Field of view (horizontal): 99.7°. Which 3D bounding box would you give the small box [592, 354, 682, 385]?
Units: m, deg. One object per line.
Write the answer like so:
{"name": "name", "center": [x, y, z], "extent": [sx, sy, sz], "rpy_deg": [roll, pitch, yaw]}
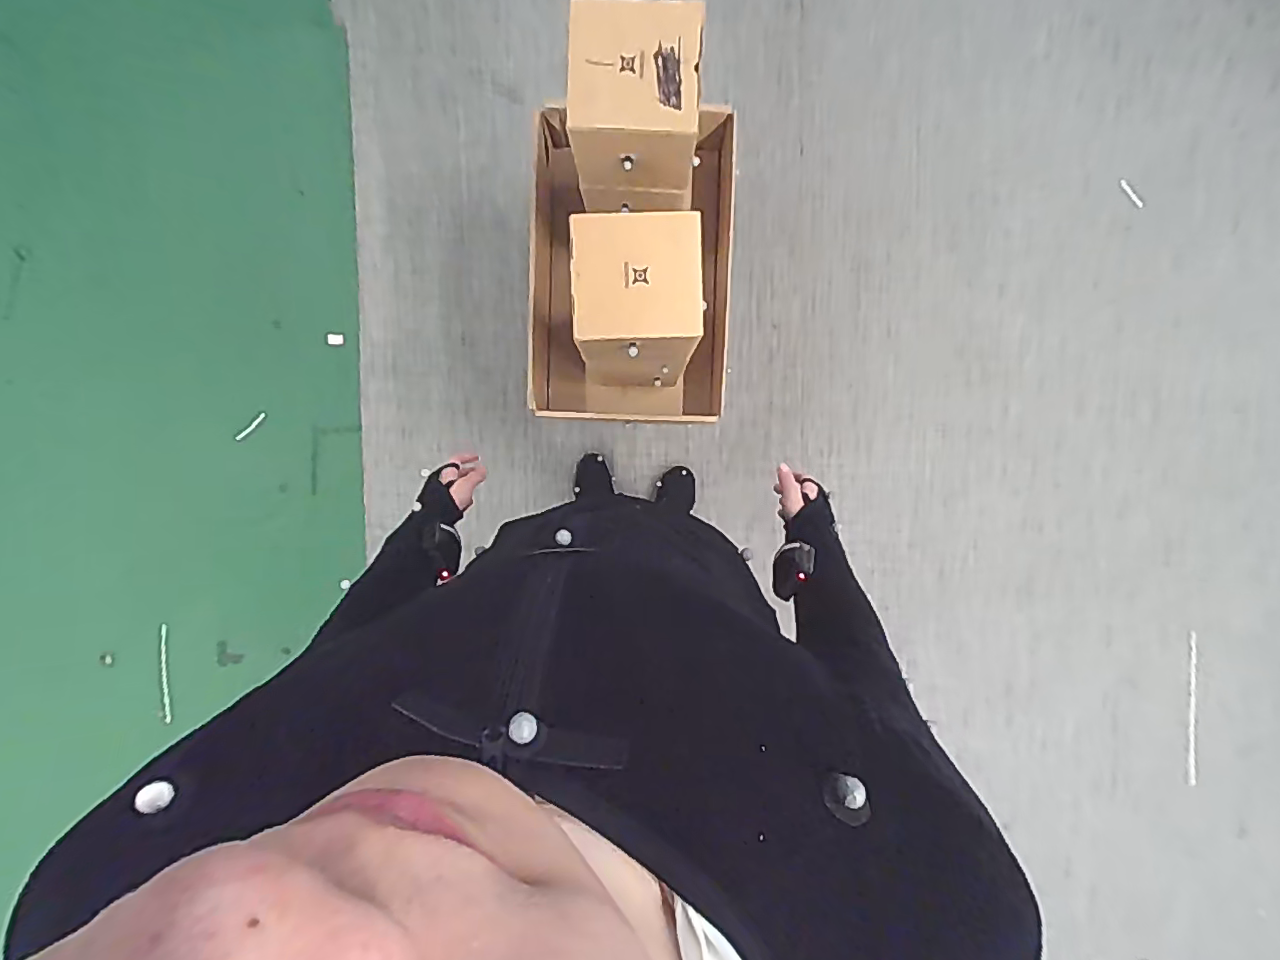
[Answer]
{"name": "small box", "center": [-0.008, -0.292, 1.120], "extent": [0.179, 0.176, 0.168], "rpy_deg": [0, 92, 0]}

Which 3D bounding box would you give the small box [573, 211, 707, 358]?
{"name": "small box", "center": [-0.001, -0.277, 0.794], "extent": [0.179, 0.176, 0.168], "rpy_deg": [-2, 93, 0]}

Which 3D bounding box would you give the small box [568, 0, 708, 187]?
{"name": "small box", "center": [-0.004, -0.547, 0.781], "extent": [0.179, 0.176, 0.168], "rpy_deg": [3, 94, 0]}

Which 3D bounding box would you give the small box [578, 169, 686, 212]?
{"name": "small box", "center": [-0.006, -0.558, 0.945], "extent": [0.179, 0.176, 0.168], "rpy_deg": [3, 95, 0]}
